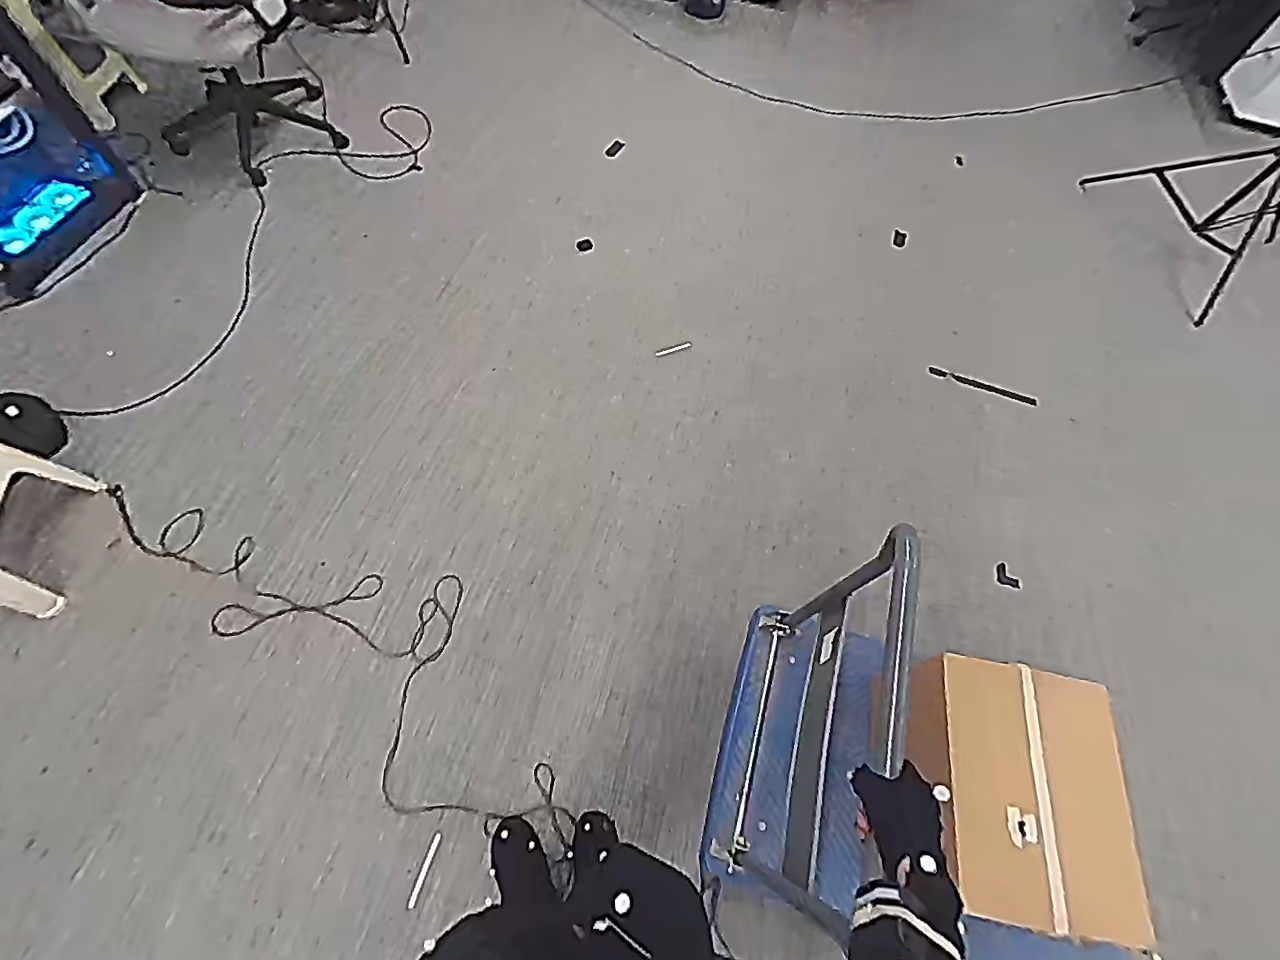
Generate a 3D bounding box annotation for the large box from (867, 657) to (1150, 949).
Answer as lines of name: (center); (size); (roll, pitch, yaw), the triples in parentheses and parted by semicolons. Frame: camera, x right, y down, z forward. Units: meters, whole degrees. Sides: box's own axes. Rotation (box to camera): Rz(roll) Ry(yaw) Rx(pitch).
large box: (0.669, 0.597, 1.066); (0.320, 0.320, 0.408); (11, 63, 1)
